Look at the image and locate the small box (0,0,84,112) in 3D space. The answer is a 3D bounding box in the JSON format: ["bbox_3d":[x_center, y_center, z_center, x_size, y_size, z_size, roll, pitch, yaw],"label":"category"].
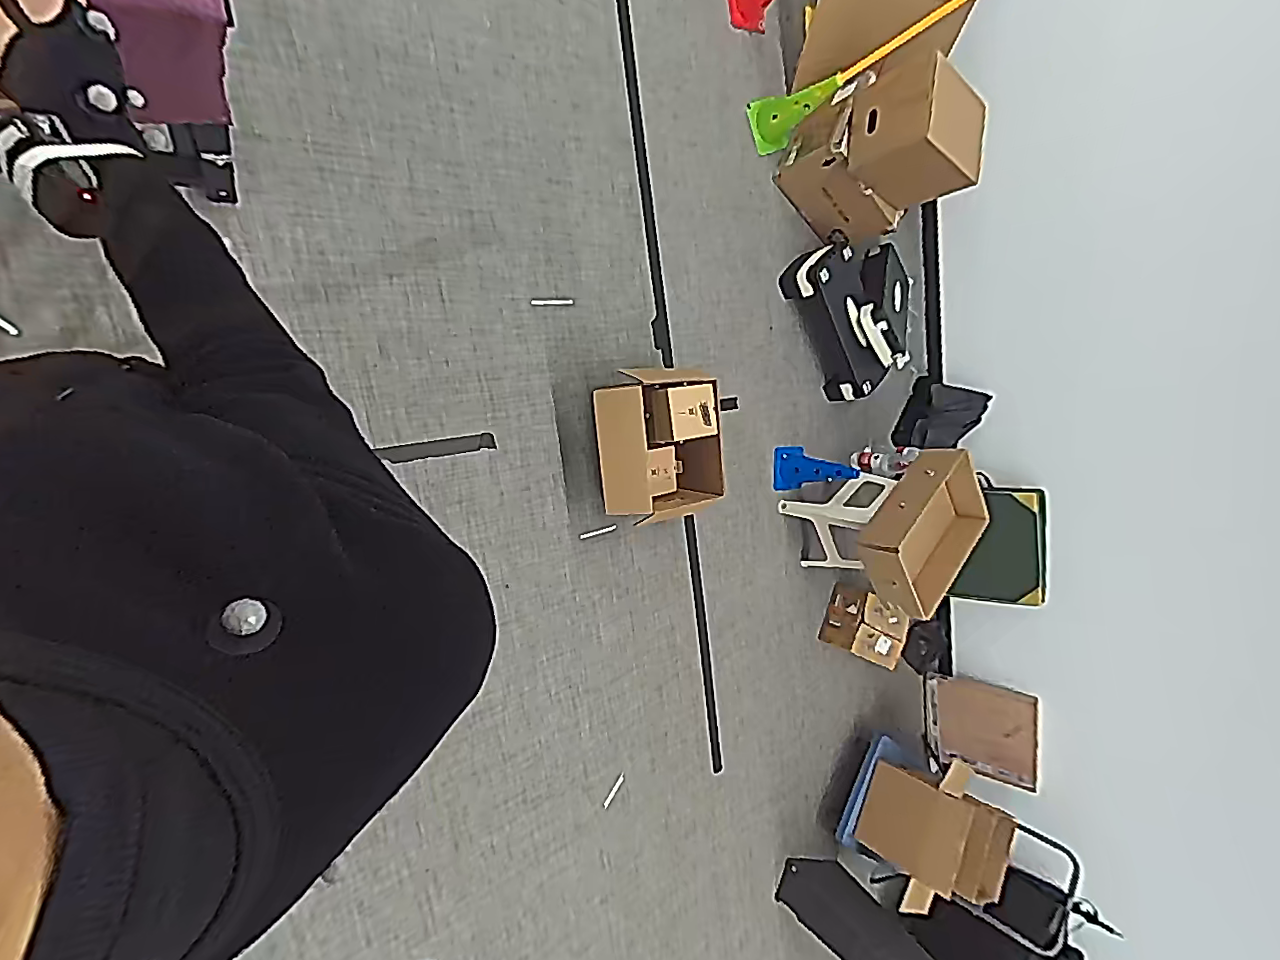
[{"bbox_3d":[-0.578,-0.418,0.409,0.168,0.176,0.179,-21,108,-33],"label":"small box"}]
